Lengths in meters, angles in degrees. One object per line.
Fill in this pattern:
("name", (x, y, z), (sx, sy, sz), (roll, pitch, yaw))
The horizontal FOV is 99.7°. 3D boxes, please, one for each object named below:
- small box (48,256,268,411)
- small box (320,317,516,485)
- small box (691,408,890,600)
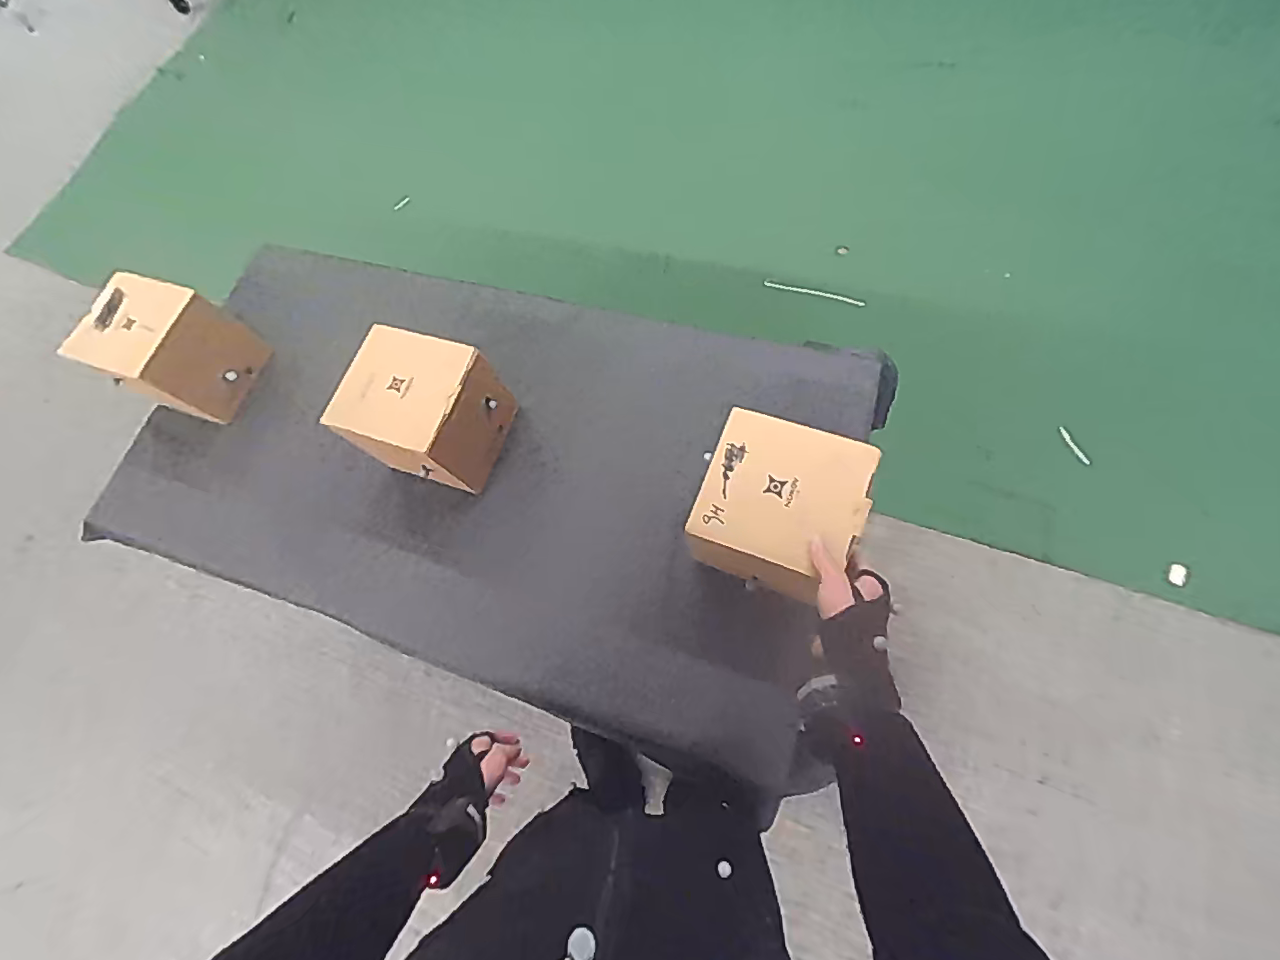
("small box", (-0.784, -0.235, 0.899), (0.179, 0.176, 0.168), (17, 74, 12))
("small box", (-0.307, -0.106, 0.793), (0.179, 0.176, 0.168), (16, 73, 14))
("small box", (0.176, 0.040, 0.672), (0.179, 0.176, 0.168), (21, 75, 14))
